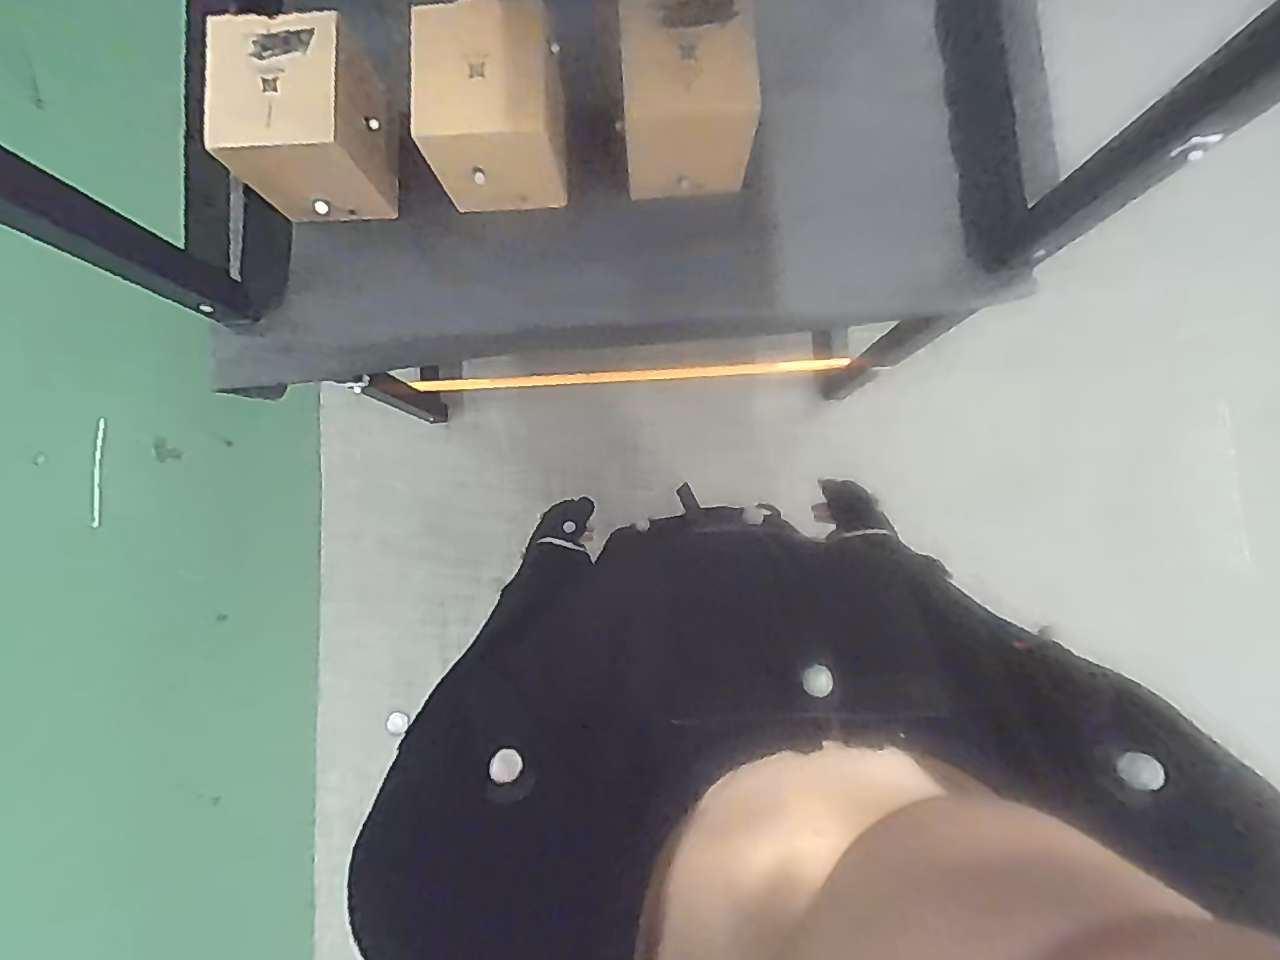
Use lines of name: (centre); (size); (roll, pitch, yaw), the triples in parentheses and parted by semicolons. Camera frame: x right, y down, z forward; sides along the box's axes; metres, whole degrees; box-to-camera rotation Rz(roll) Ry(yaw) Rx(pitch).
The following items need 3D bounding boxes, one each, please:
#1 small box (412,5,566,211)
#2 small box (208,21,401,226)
small box: (-0.197, -0.495, 0.747); (0.168, 0.176, 0.179); (-2, 85, 1)
small box: (-0.450, -0.482, 0.752); (0.168, 0.176, 0.179); (-2, 86, 2)
